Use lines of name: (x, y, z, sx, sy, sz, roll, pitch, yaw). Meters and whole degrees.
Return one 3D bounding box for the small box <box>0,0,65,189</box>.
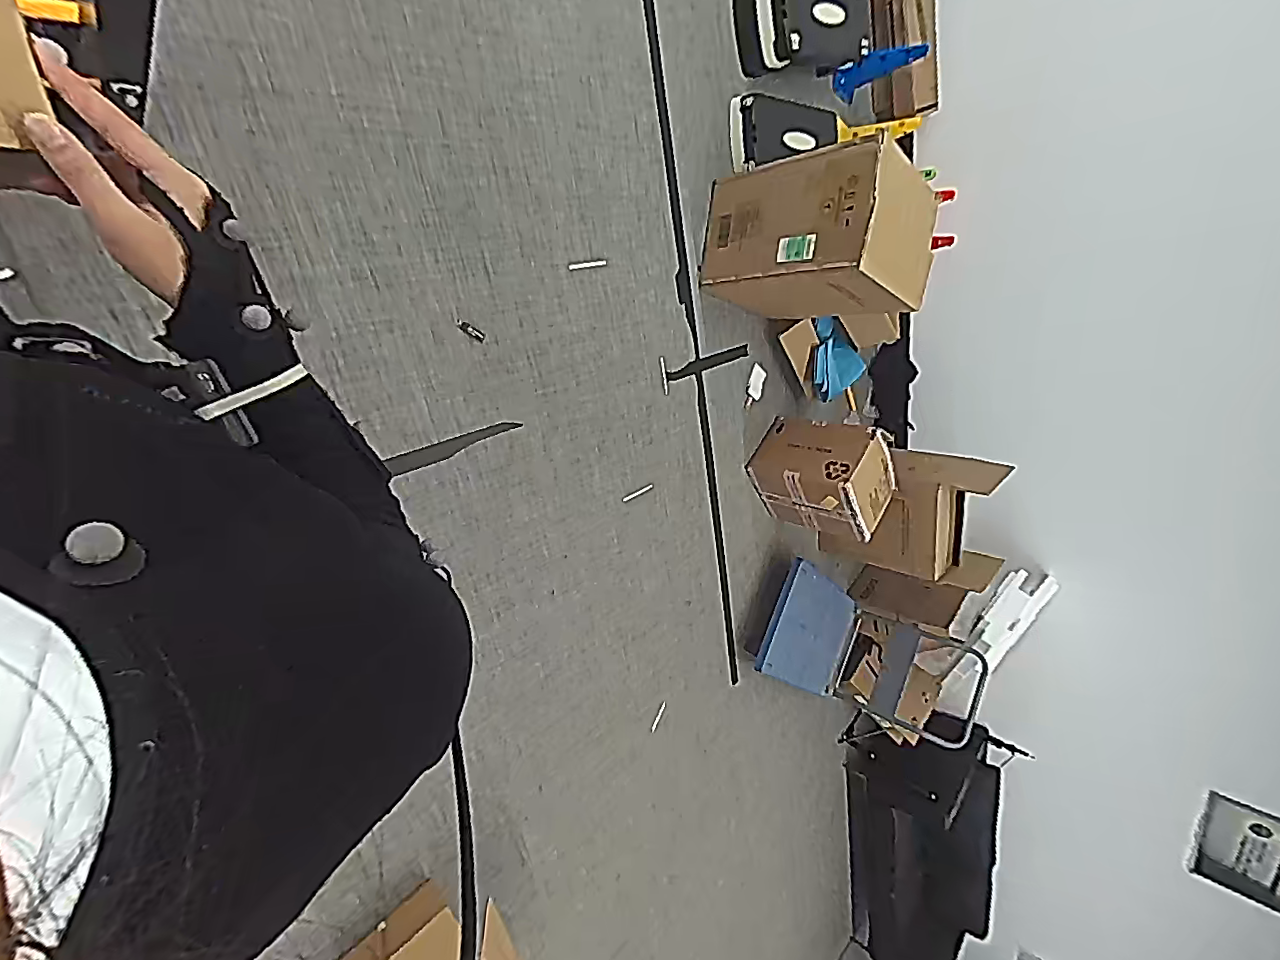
small box: (-0.426, -0.248, 0.261, 0.179, 0.176, 0.168, -19, 118, -42)
